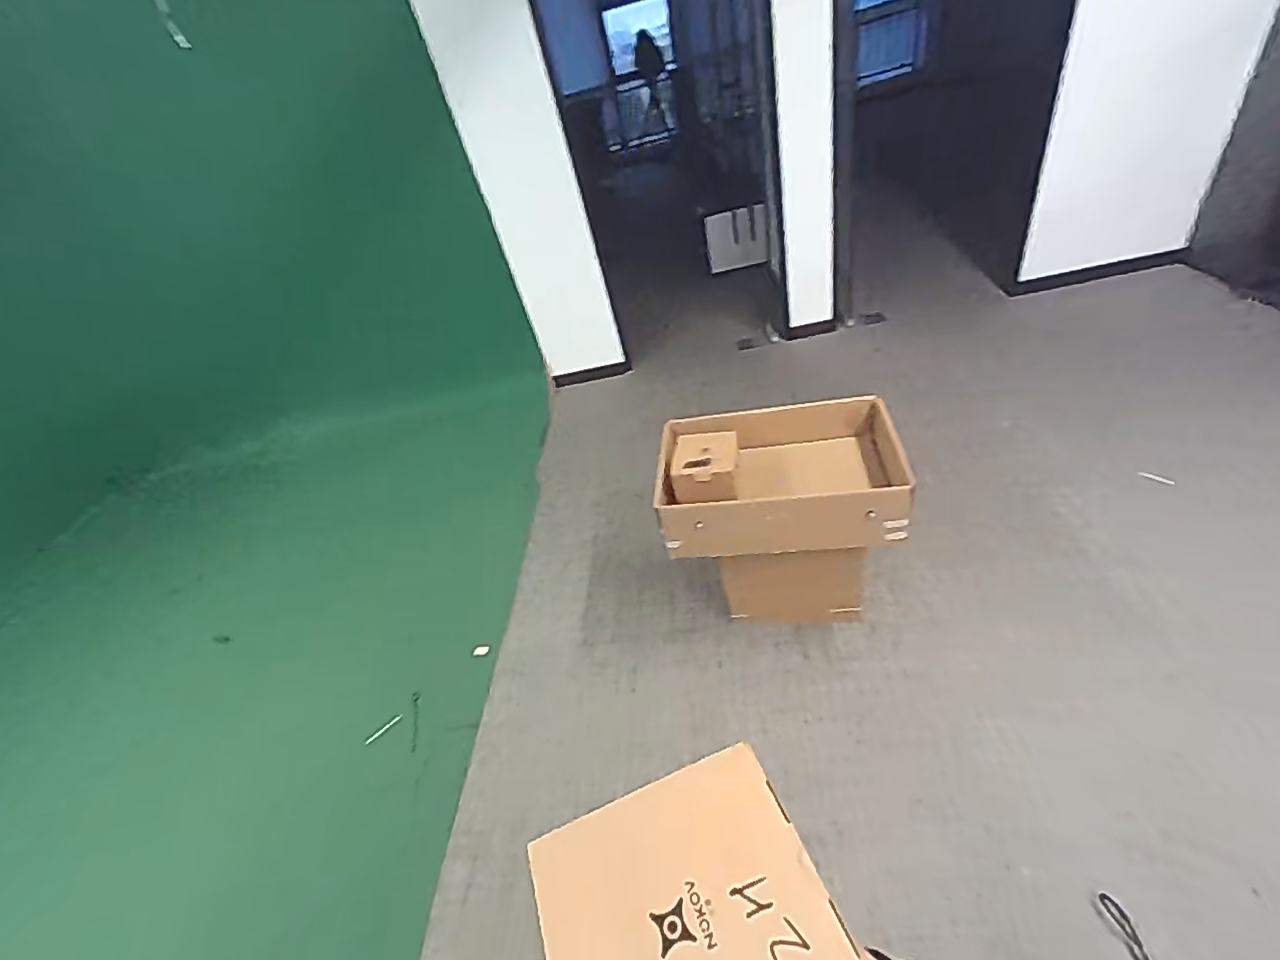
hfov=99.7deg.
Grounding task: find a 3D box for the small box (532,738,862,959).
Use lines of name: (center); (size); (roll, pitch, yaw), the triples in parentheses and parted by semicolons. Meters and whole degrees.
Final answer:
small box: (0.042, 0.327, 0.386); (0.179, 0.176, 0.168); (-20, 42, -8)
